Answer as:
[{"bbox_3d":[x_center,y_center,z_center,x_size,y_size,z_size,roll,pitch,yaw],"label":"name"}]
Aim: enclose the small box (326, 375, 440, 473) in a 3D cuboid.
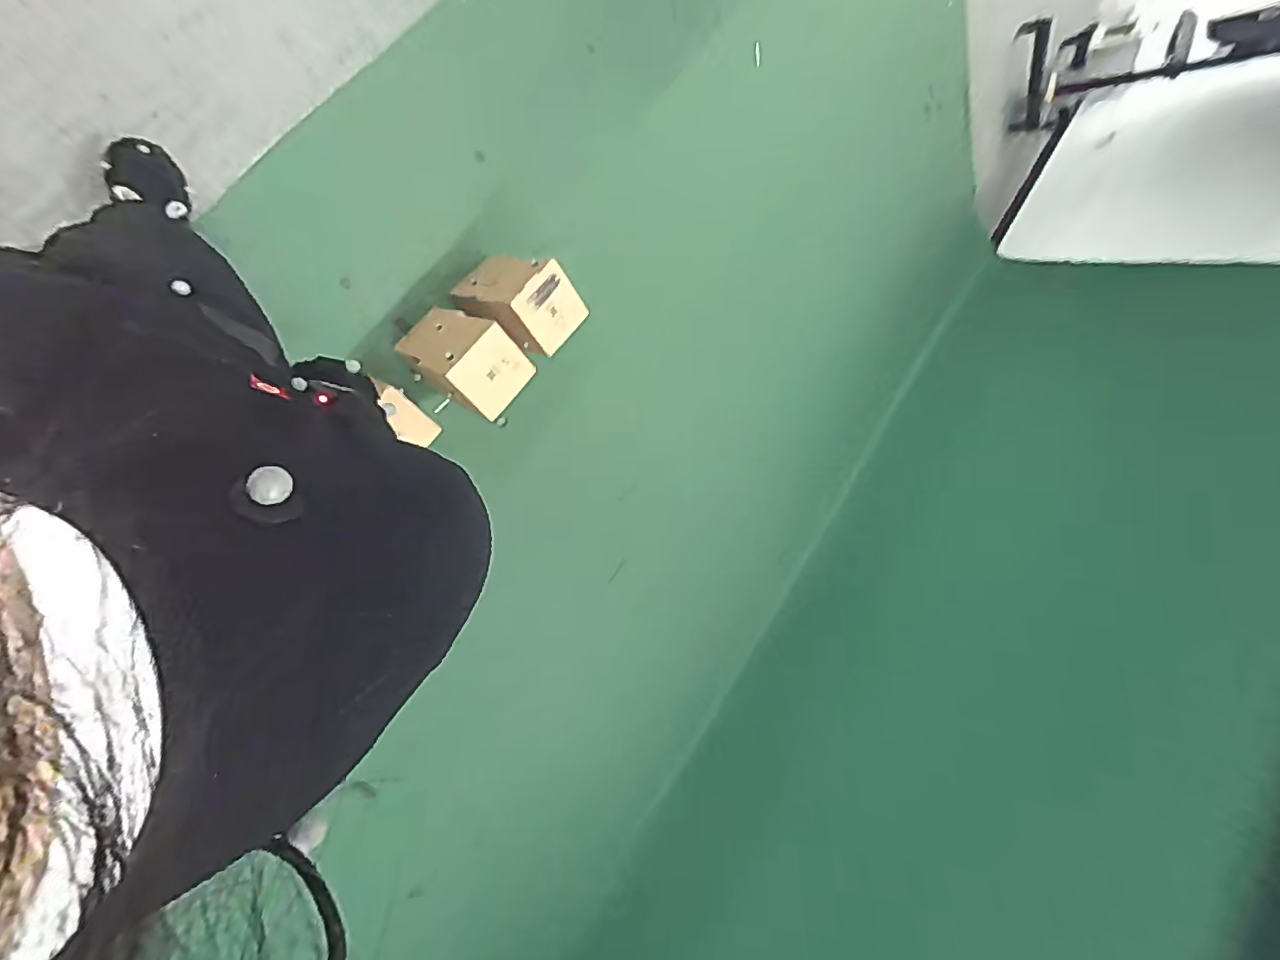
[{"bbox_3d":[-0.660,-0.150,1.386,0.168,0.176,0.179,-54,135,-13],"label":"small box"}]
